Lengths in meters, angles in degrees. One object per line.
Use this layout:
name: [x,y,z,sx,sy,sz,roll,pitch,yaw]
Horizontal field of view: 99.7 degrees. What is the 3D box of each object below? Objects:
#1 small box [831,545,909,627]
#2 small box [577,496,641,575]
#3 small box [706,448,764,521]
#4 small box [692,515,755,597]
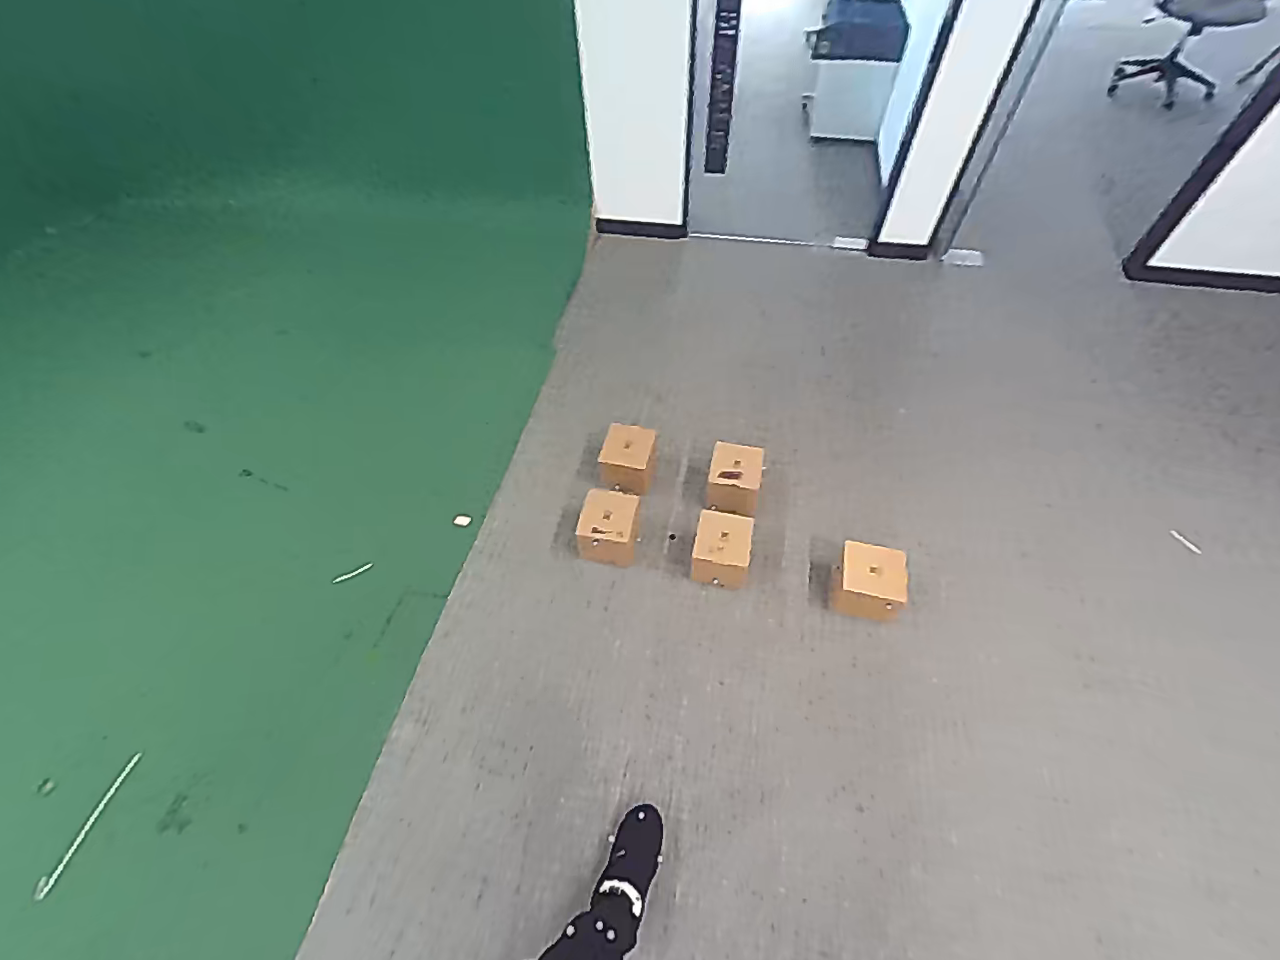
small box: [0.676,0.319,1.608,0.179,0.176,0.168,11,55,9]
small box: [-0.093,0.179,1.739,0.168,0.176,0.179,8,54,9]
small box: [0.321,0.018,1.839,0.168,0.176,0.179,10,54,9]
small box: [0.256,0.238,1.682,0.168,0.176,0.179,10,55,10]
